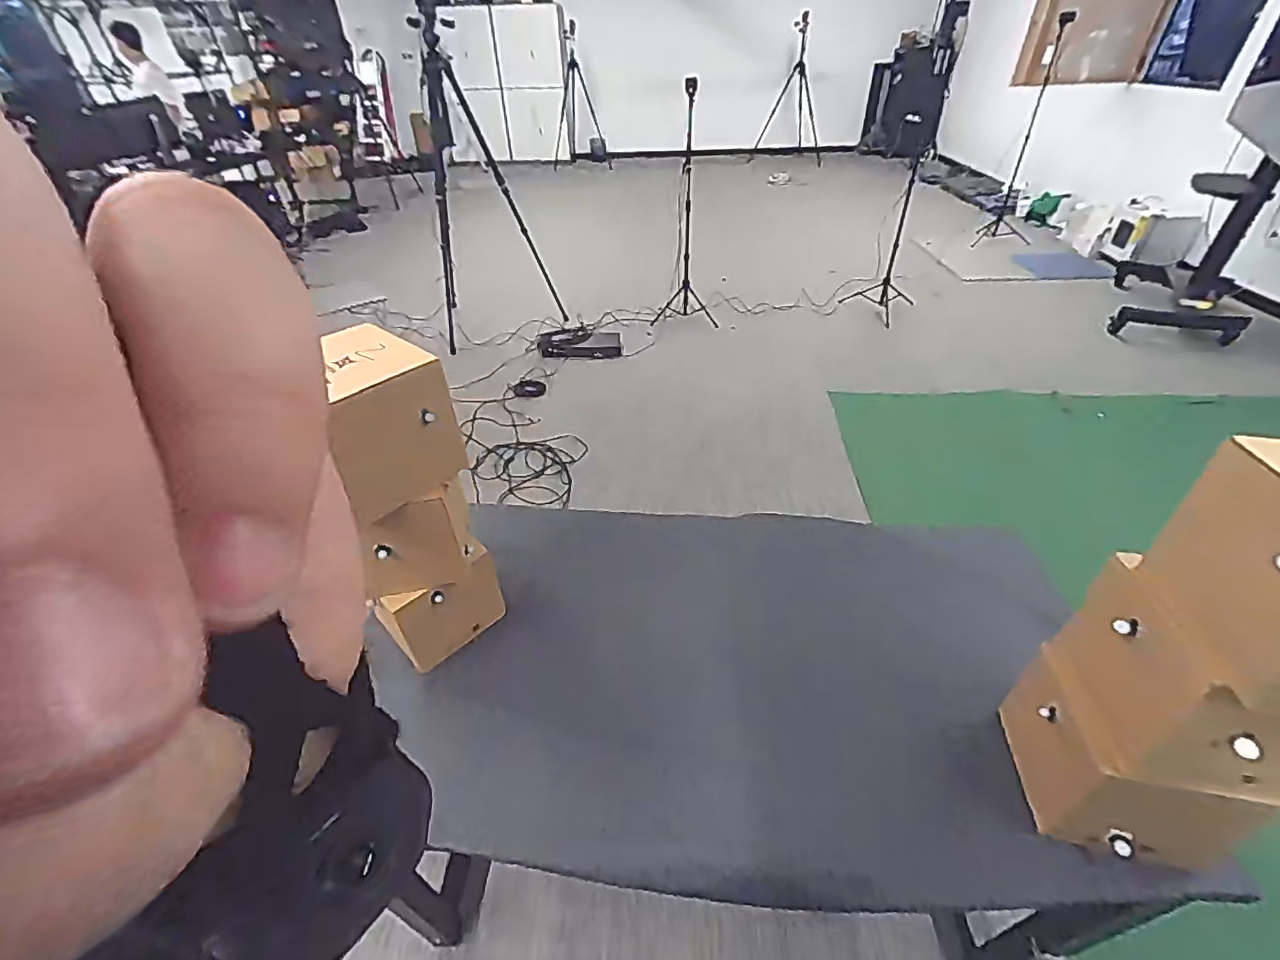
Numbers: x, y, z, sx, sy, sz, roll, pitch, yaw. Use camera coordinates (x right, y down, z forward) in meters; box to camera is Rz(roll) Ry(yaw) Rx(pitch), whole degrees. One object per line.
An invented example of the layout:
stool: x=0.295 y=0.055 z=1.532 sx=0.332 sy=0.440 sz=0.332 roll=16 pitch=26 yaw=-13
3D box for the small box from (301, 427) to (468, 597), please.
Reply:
small box: x=-0.357 y=0.047 z=0.800 sx=0.179 sy=0.176 sz=0.168 roll=-11 pitch=41 yaw=-10

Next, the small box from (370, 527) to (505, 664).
small box: x=-0.352 y=0.171 z=0.909 sx=0.179 sy=0.176 sz=0.168 roll=31 pitch=50 yaw=33

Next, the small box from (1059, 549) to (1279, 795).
small box: x=0.593 y=0.198 z=0.568 sx=0.168 sy=0.176 sz=0.179 roll=4 pitch=36 yaw=10

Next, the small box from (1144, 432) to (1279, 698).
small box: x=0.592 y=0.079 z=0.451 sx=0.168 sy=0.176 sz=0.179 roll=5 pitch=36 yaw=10

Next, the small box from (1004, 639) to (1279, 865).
small box: x=0.585 y=0.329 z=0.665 sx=0.168 sy=0.176 sz=0.179 roll=5 pitch=38 yaw=12
